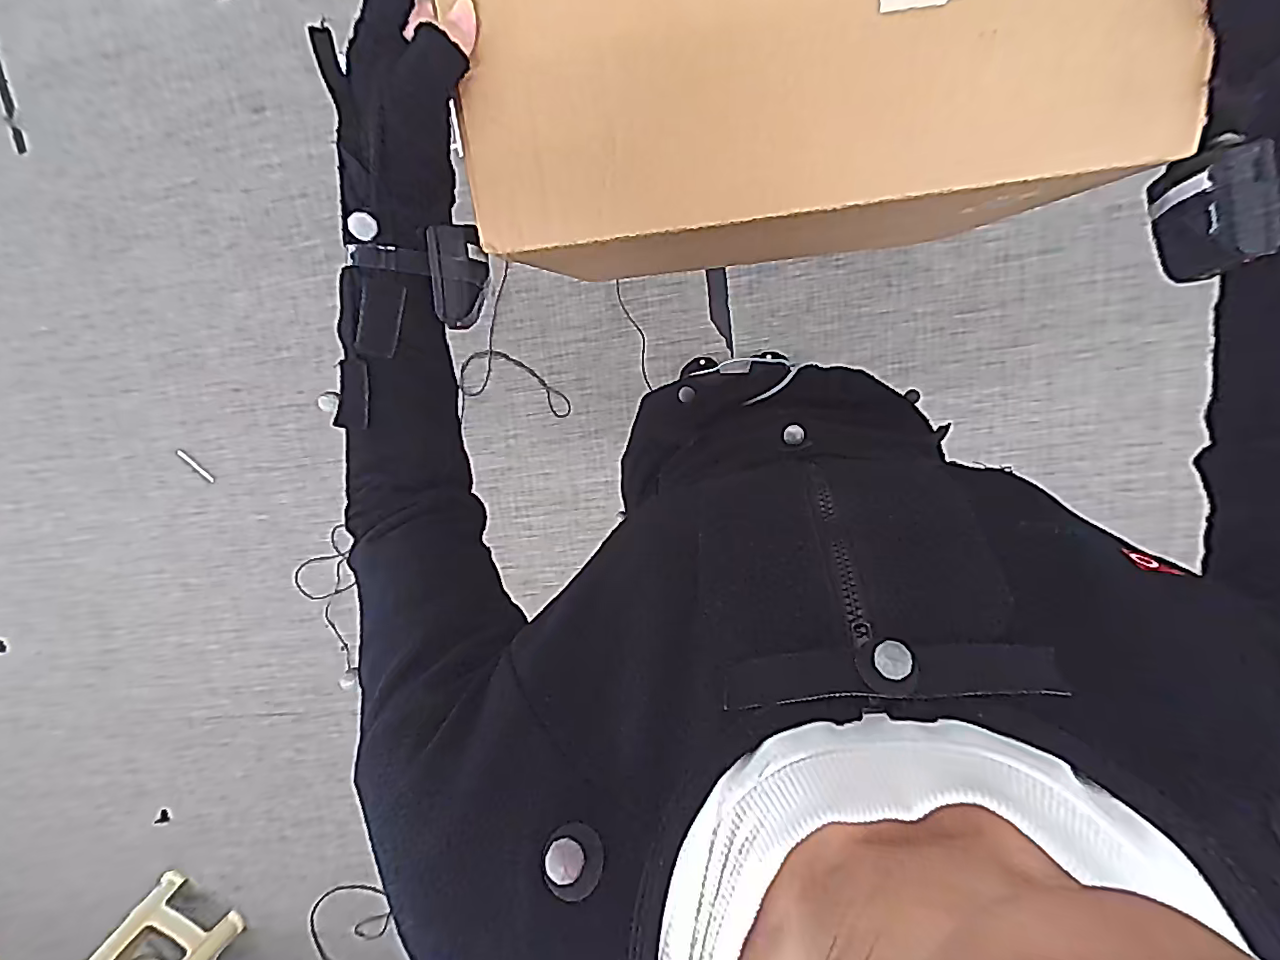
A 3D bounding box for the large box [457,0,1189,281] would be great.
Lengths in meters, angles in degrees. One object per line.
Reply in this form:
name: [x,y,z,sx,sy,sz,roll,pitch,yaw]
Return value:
large box: [0.098,-0.358,0.433,0.408,0.320,0.320,-5,107,7]
